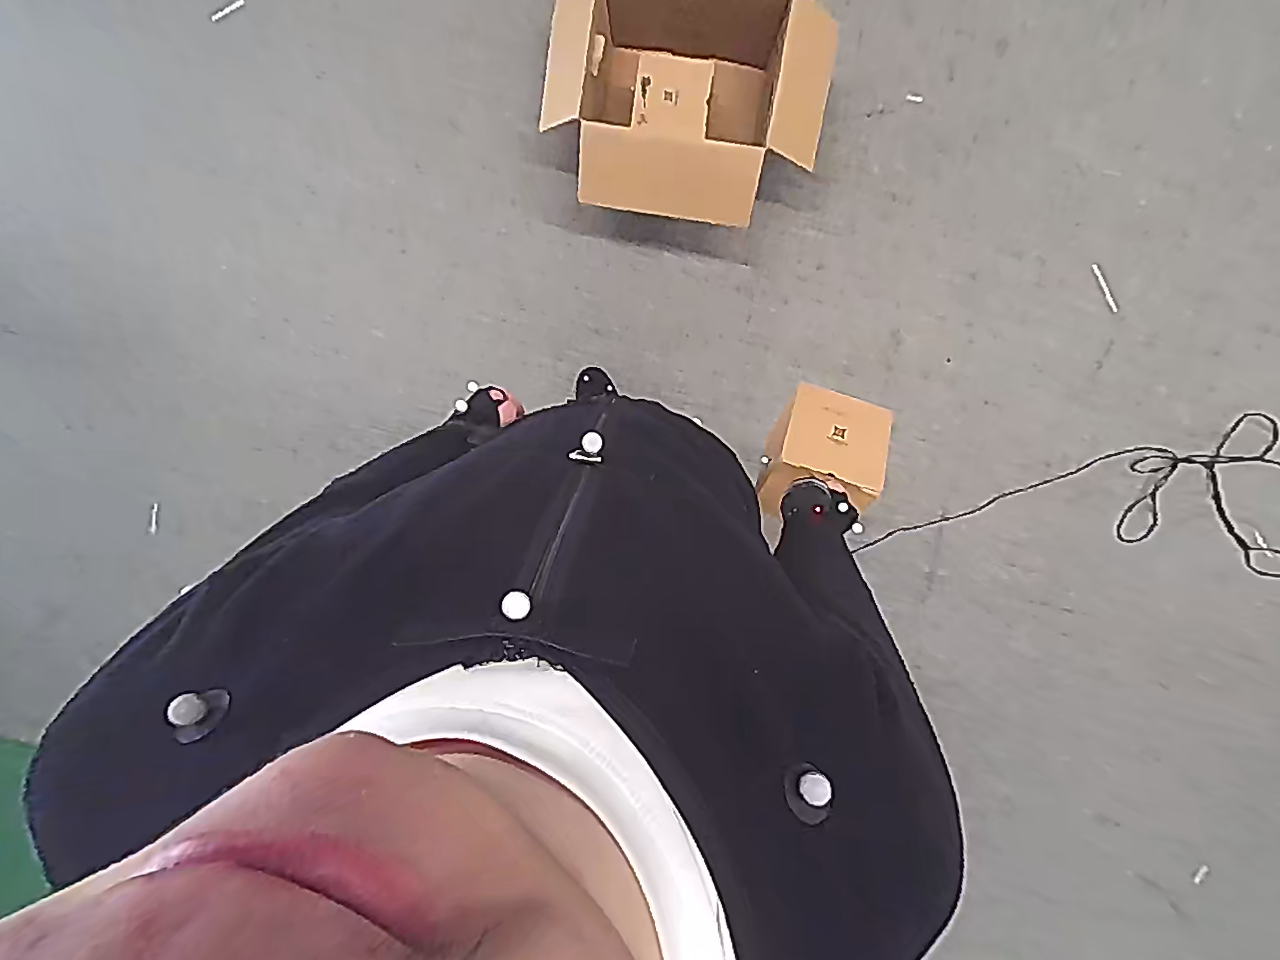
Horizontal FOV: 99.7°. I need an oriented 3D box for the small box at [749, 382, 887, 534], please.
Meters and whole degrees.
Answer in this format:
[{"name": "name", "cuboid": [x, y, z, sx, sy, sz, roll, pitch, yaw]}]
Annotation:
[{"name": "small box", "cuboid": [0.301, -0.031, 0.937, 0.168, 0.176, 0.179, 20, 59, 3]}]
